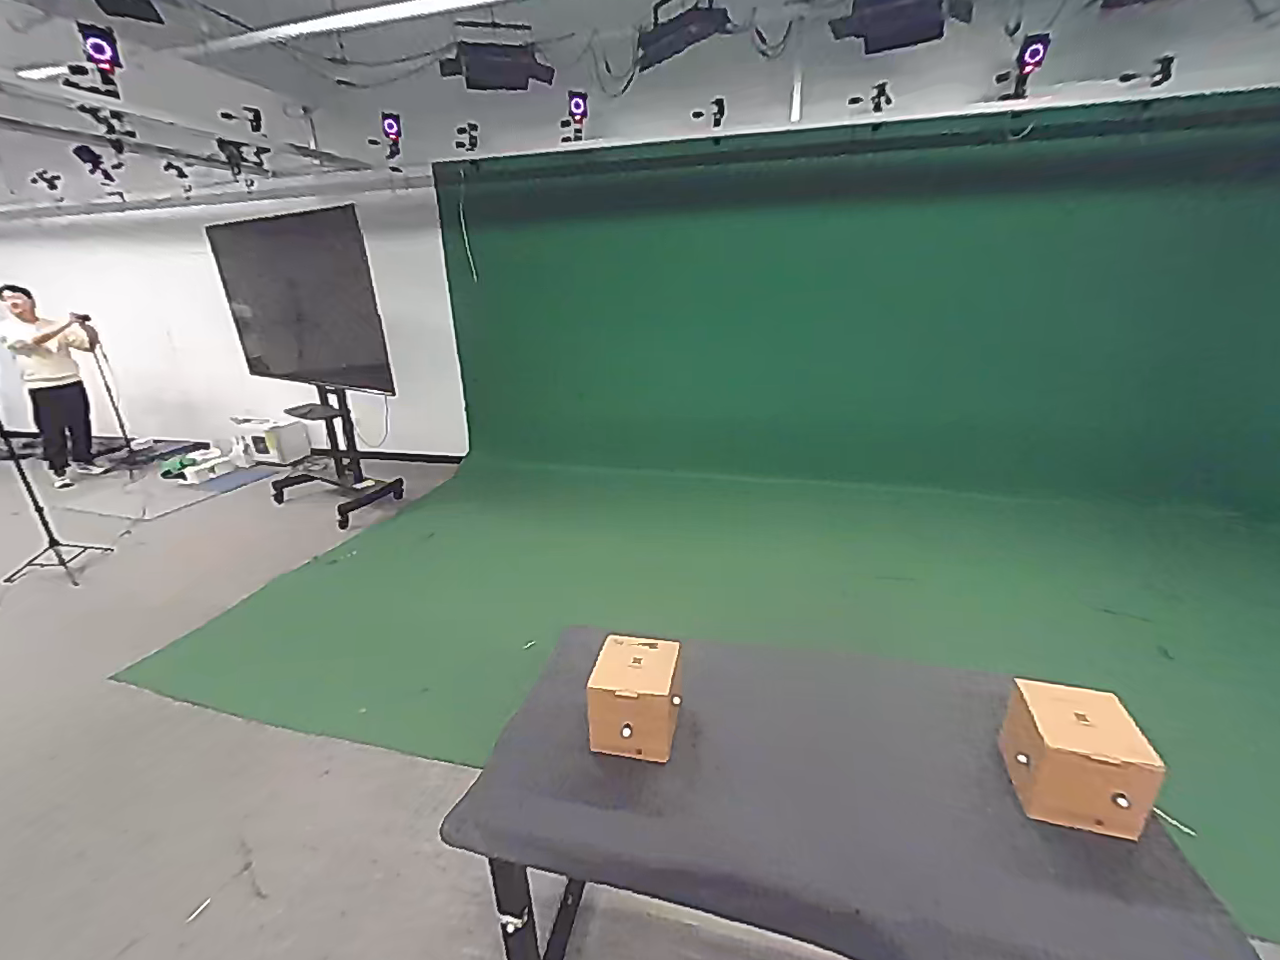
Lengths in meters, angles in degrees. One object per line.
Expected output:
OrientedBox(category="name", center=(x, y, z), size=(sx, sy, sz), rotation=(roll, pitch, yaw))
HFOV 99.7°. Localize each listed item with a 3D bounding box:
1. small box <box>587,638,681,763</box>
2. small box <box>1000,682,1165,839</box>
OrientedBox(category="small box", center=(-0.005, 0.466, 1.152), size=(0.168, 0.176, 0.179), rotation=(3, 21, 12))
OrientedBox(category="small box", center=(0.783, 0.503, 0.980), size=(0.168, 0.176, 0.179), rotation=(5, 20, 16))
